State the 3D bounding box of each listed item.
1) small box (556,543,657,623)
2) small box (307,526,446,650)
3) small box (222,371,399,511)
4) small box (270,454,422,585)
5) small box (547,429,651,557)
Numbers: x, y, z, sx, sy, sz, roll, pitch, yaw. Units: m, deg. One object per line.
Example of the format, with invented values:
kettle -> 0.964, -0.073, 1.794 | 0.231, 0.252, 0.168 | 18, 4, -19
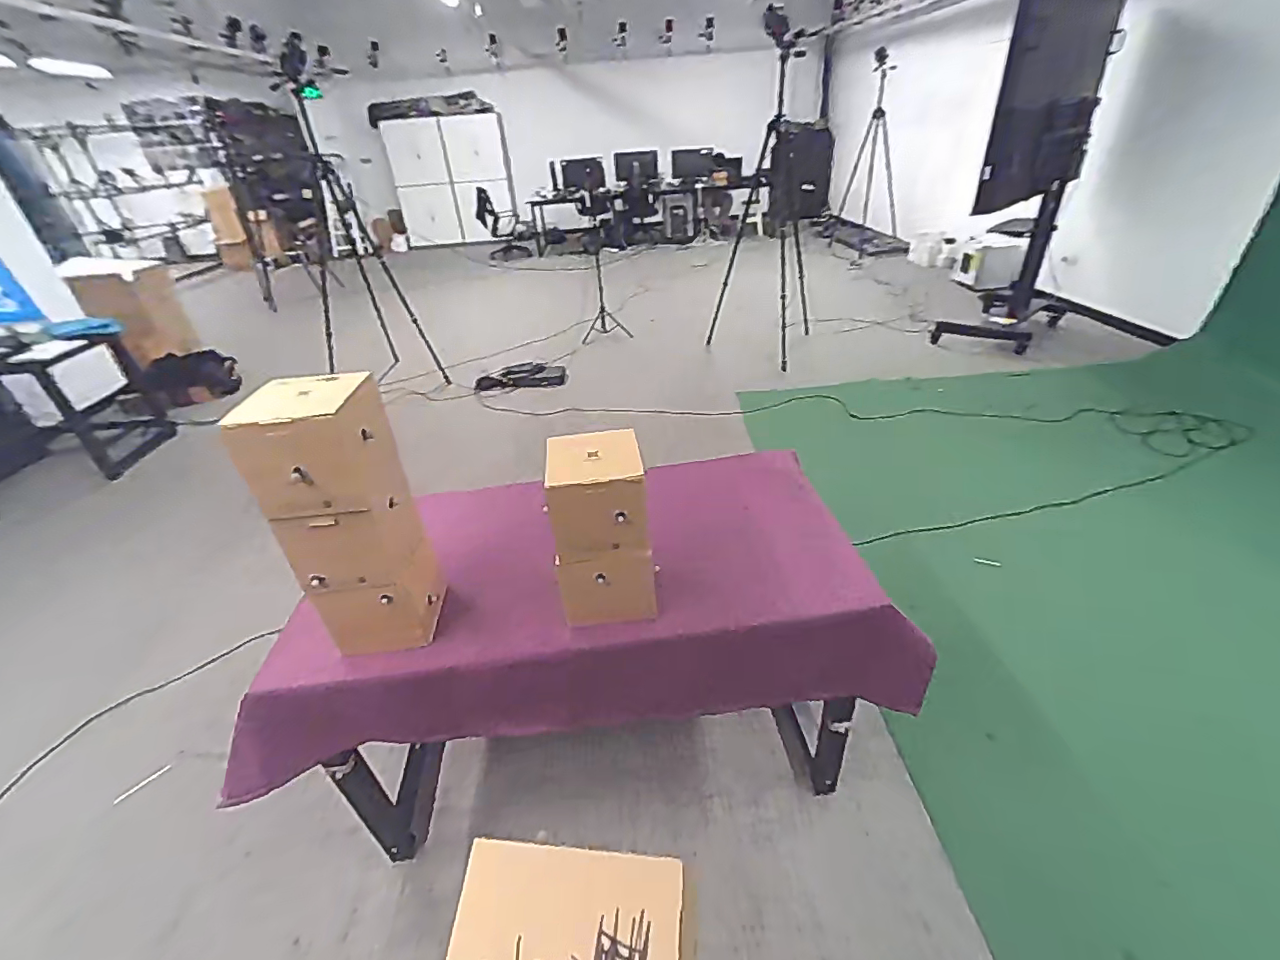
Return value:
small box -> -0.063, 0.167, 1.074 | 0.179, 0.176, 0.168 | -5, 34, -1
small box -> -0.501, 0.212, 1.058 | 0.179, 0.176, 0.168 | -5, 33, -4
small box -> -0.512, -0.061, 0.876 | 0.168, 0.176, 0.179 | -5, 34, -3
small box -> -0.509, 0.074, 0.971 | 0.168, 0.176, 0.179 | -6, 32, -4
small box -> -0.073, 0.027, 0.990 | 0.168, 0.176, 0.179 | -6, 32, -4
